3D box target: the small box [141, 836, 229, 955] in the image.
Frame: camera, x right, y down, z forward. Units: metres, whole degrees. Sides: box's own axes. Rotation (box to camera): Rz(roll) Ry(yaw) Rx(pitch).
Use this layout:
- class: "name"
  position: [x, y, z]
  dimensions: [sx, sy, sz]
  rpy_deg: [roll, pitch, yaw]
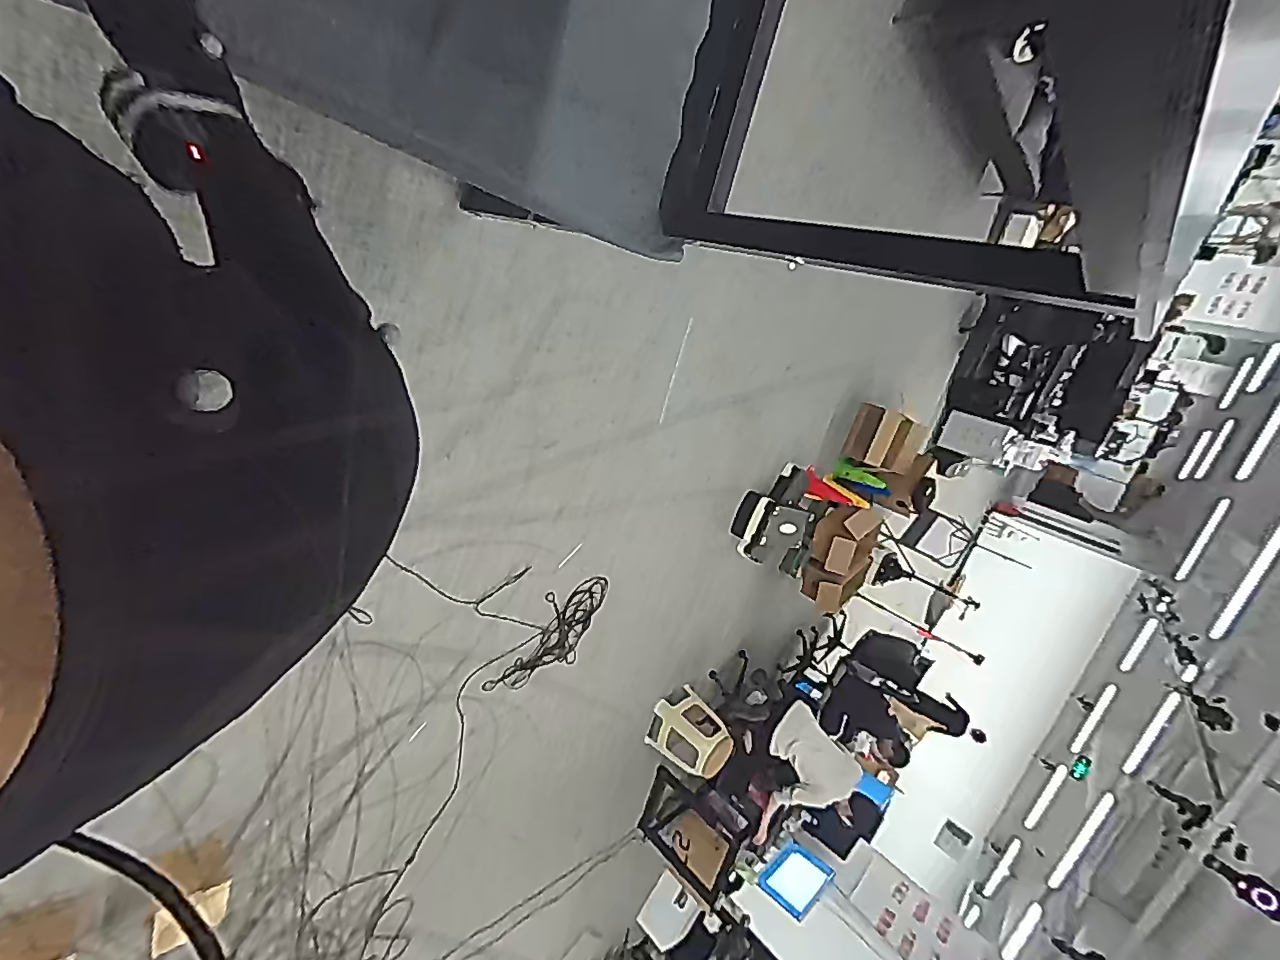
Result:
- class: "small box"
  position: [-1.314, 1.186, 1.559]
  dimensions: [0.168, 0.176, 0.179]
  rpy_deg: [1, 111, -50]

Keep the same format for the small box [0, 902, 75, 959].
- class: "small box"
  position: [-1.520, 1.187, 1.320]
  dimensions: [0.168, 0.176, 0.179]
  rpy_deg: [11, 105, -51]
